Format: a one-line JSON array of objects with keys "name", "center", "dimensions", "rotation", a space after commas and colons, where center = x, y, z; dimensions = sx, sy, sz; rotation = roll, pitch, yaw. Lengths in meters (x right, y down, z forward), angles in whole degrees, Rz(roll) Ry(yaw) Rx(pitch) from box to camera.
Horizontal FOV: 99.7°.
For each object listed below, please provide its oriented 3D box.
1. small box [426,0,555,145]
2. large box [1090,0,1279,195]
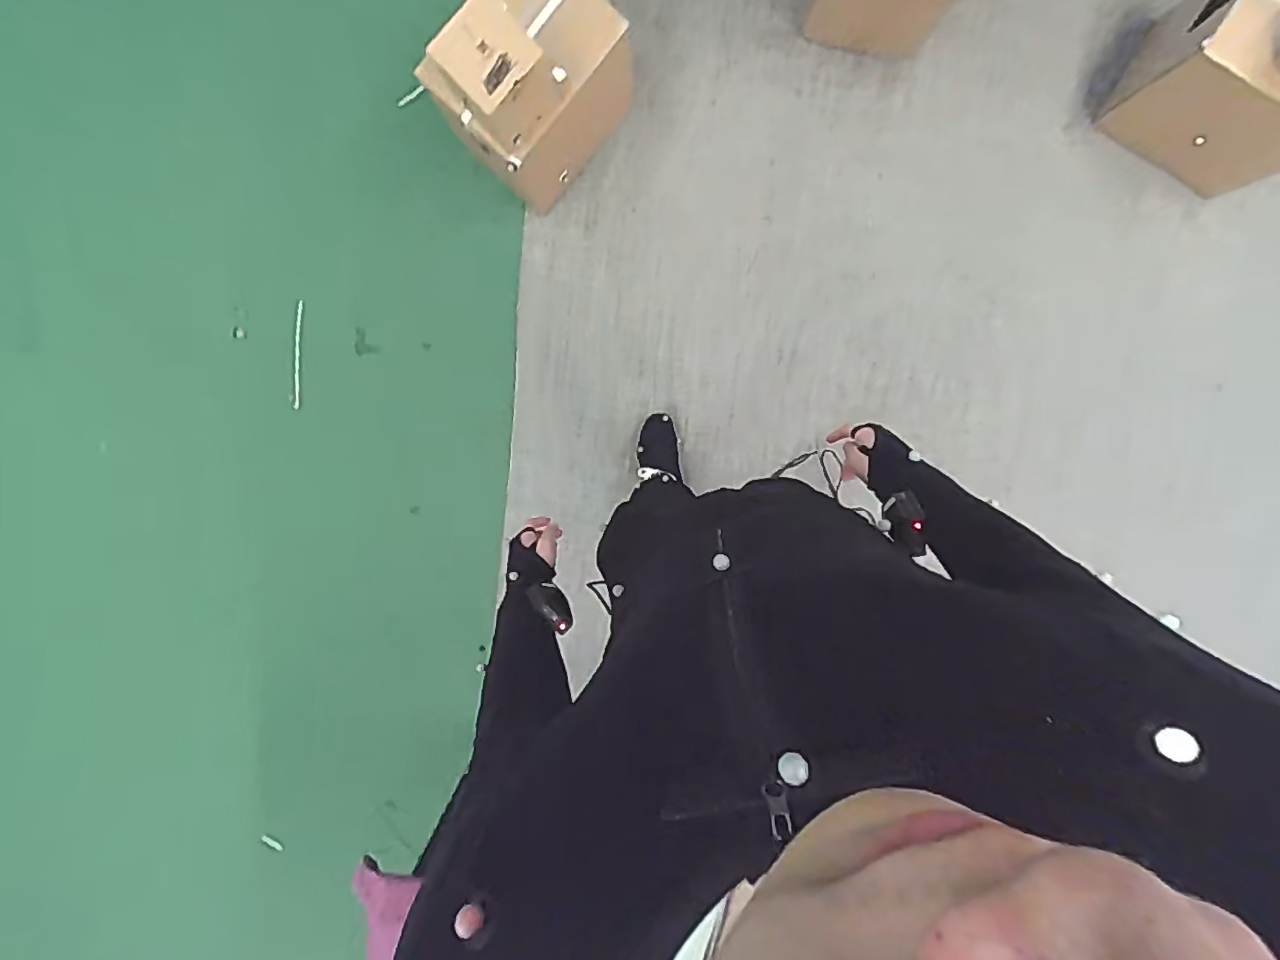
[{"name": "small box", "center": [-0.301, -0.846, 1.131], "dimensions": [0.168, 0.176, 0.179], "rotation": [-45, 94, 4]}, {"name": "large box", "center": [1.472, -0.989, 1.326], "dimensions": [0.408, 0.320, 0.320], "rotation": [30, 96, -1]}]
